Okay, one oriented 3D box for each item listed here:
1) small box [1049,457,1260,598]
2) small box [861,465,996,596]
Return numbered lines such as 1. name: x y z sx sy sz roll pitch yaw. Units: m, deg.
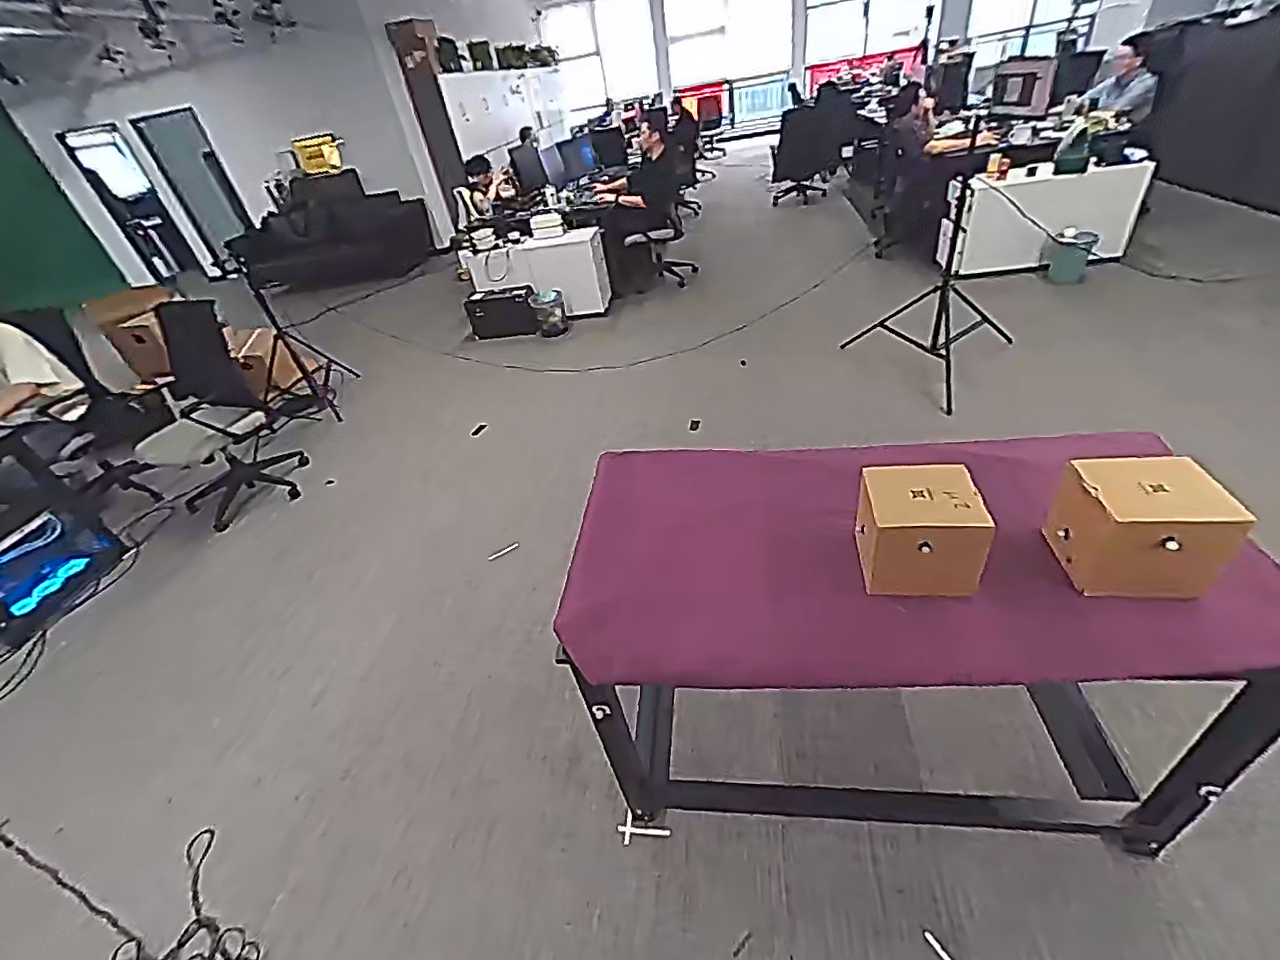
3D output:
1. small box: 0.825 0.079 0.894 0.179 0.176 0.168 -2 36 14
2. small box: 0.497 0.090 0.965 0.179 0.176 0.168 -1 38 13
